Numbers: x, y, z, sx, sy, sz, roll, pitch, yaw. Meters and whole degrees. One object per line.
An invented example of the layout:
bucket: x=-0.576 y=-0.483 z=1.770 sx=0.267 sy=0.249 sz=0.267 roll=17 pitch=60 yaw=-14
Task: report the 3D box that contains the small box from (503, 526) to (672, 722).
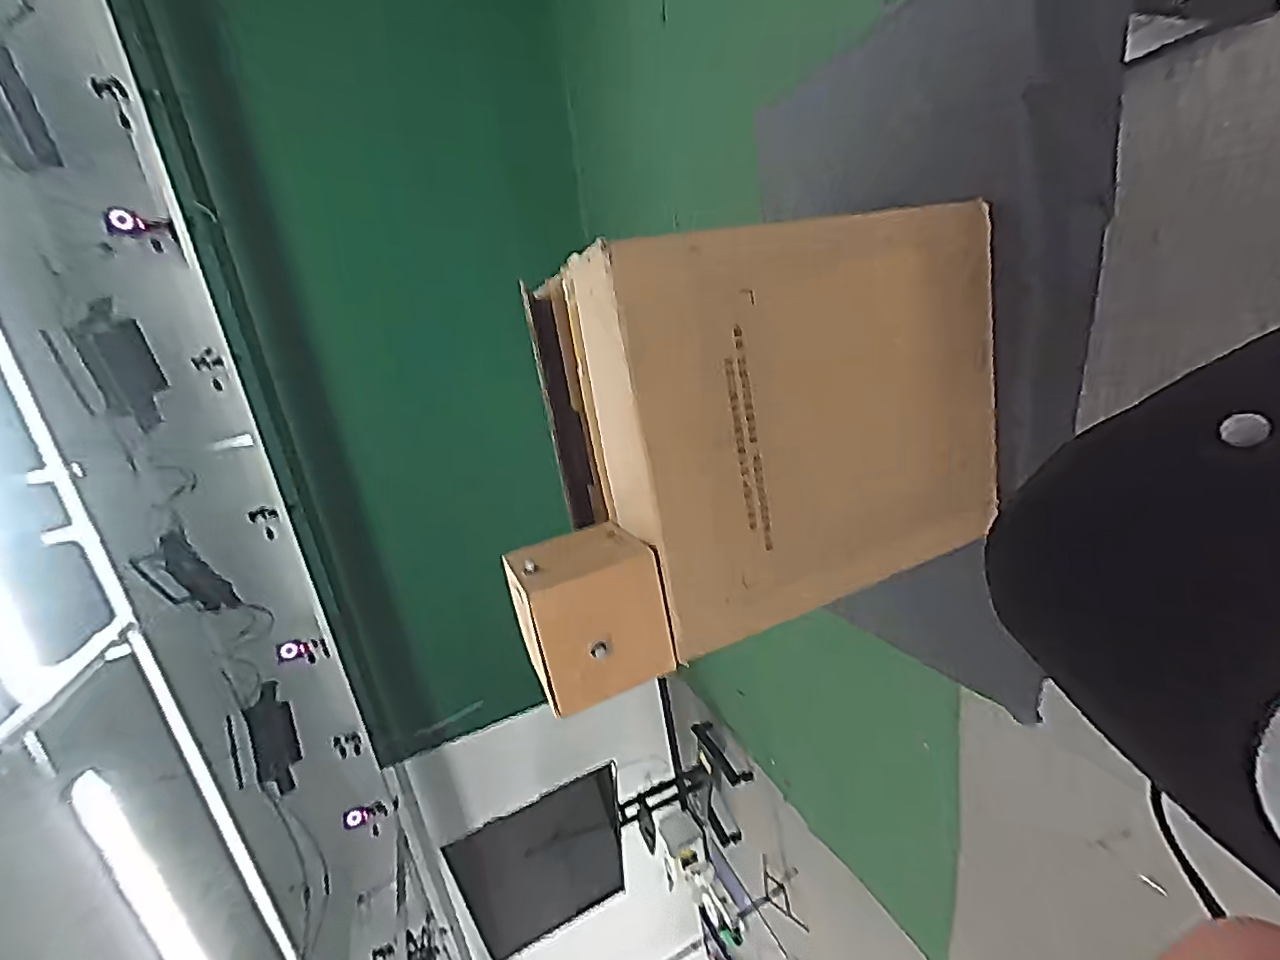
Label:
small box: x=-0.071 y=0.185 z=0.747 sx=0.168 sy=0.176 sz=0.179 roll=20 pitch=125 yaw=63
